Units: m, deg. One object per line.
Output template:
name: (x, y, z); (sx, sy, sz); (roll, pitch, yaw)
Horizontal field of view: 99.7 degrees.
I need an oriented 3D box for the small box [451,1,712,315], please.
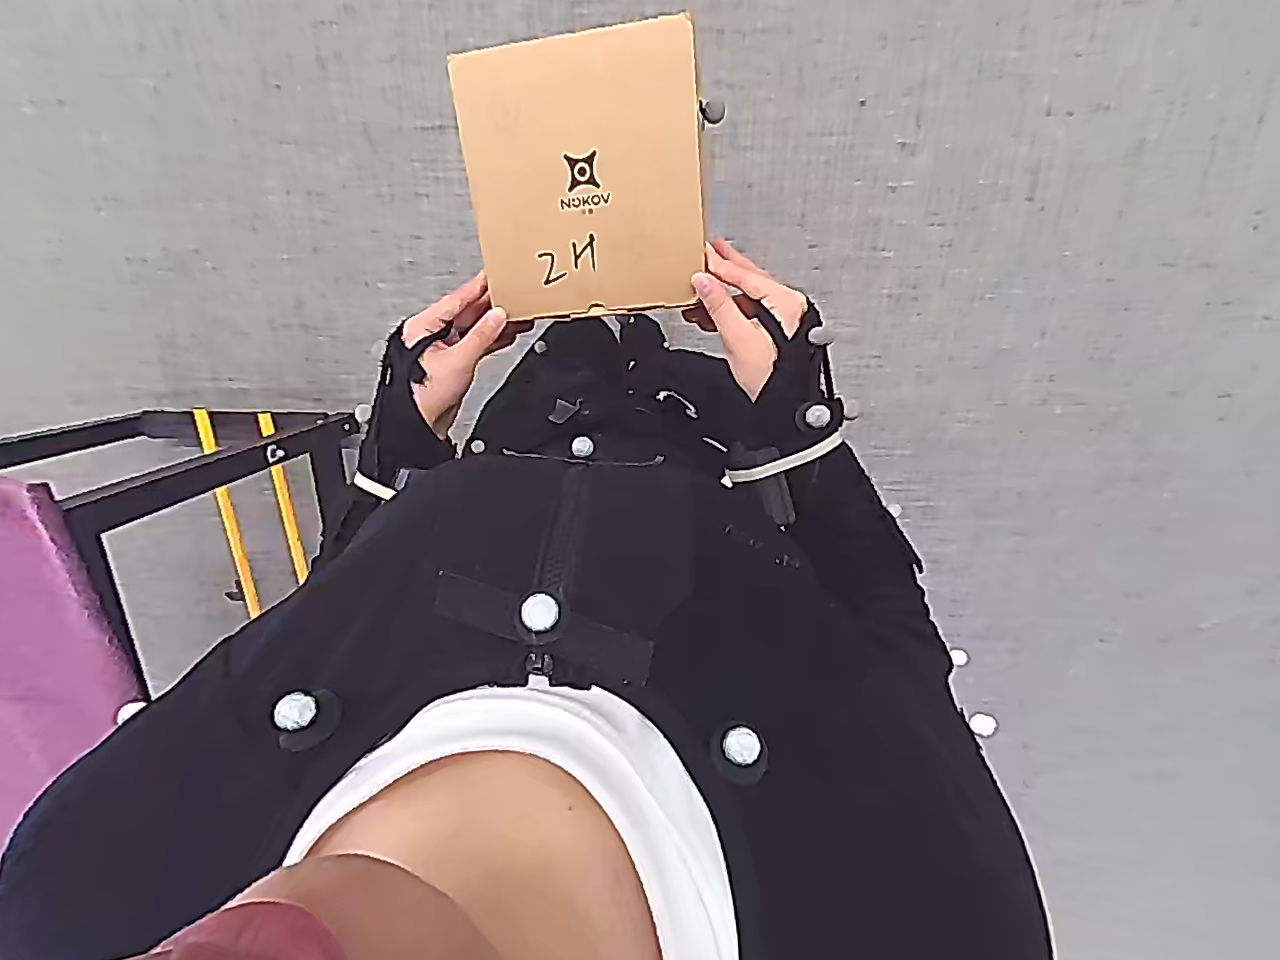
small box: (-0.027, -0.234, 0.441); (0.168, 0.176, 0.179); (-2, 110, 9)
